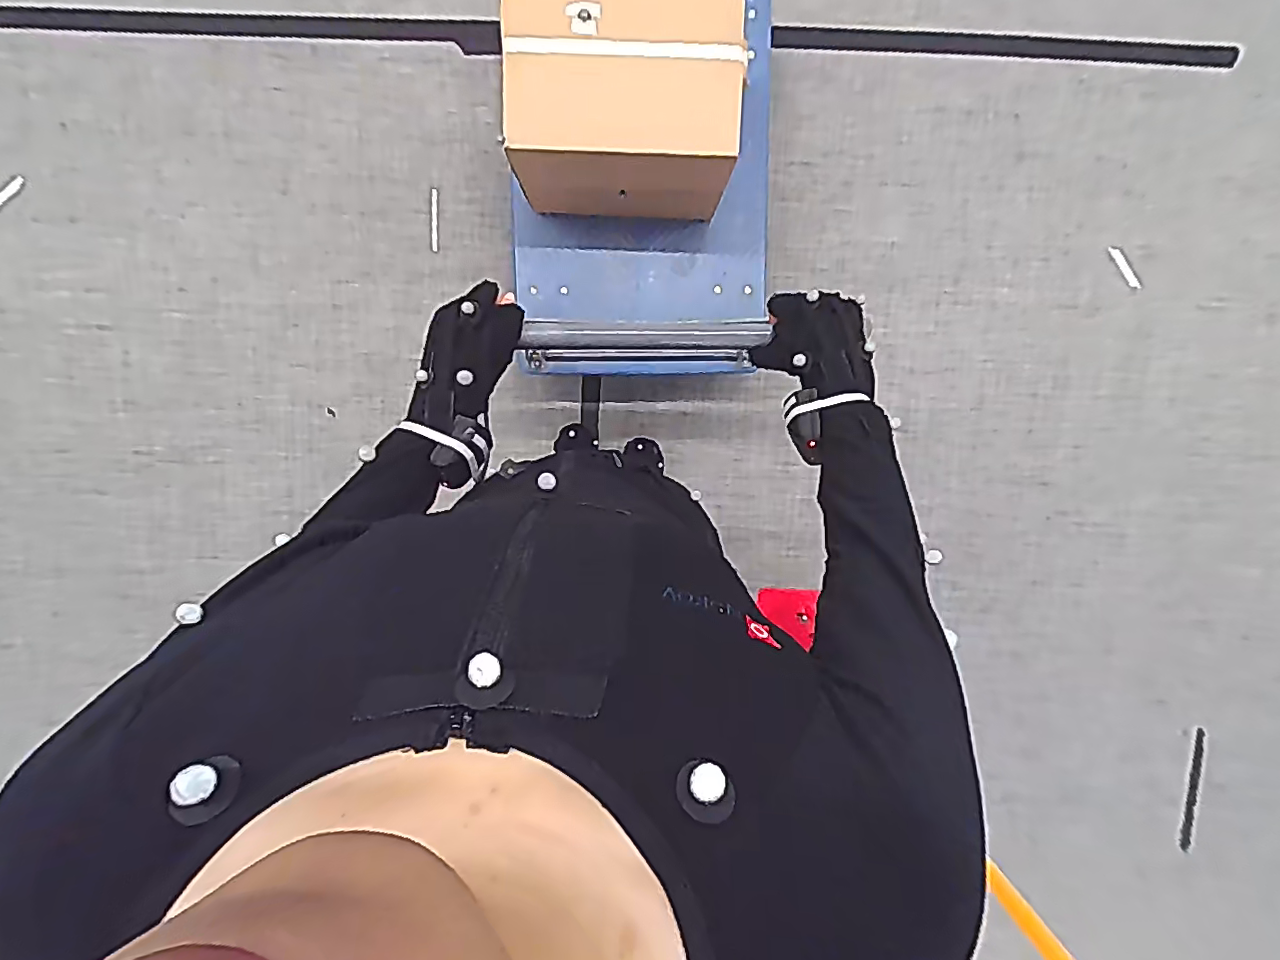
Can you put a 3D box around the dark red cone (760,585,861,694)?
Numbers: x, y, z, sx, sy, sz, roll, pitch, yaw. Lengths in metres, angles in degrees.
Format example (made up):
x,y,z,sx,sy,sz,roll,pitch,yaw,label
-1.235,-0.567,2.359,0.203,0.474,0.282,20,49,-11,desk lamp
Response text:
x,y,z,sx,sy,sz,roll,pitch,yaw,label
0.439,0.411,1.332,0.201,0.394,0.202,2,98,-3,dark red cone

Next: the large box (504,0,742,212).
x,y,z,sx,sy,sz,roll,pitch,yaw,label
-0.028,-0.735,1.054,0.408,0.320,0.320,1,97,0,large box
